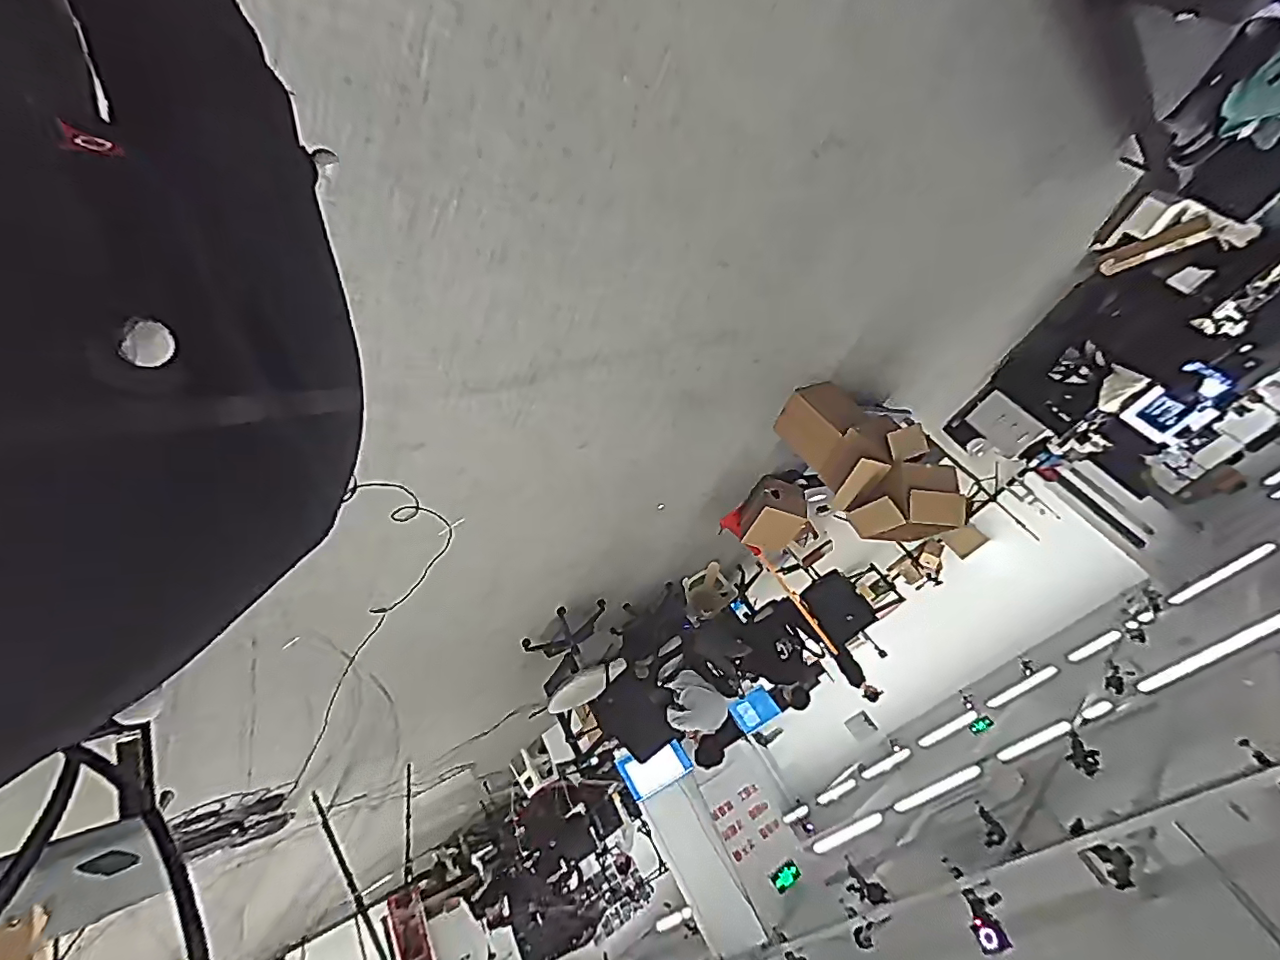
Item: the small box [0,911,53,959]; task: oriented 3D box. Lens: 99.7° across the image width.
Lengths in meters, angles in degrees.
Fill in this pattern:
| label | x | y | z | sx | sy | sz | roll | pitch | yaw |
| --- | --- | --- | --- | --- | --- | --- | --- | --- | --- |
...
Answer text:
| label | x | y | z | sx | sy | sz | roll | pitch | yaw |
| --- | --- | --- | --- | --- | --- | --- | --- | --- | --- |
| small box | -1.620 | 1.239 | 1.366 | 0.168 | 0.176 | 0.179 | -7 | 141 | -41 |
